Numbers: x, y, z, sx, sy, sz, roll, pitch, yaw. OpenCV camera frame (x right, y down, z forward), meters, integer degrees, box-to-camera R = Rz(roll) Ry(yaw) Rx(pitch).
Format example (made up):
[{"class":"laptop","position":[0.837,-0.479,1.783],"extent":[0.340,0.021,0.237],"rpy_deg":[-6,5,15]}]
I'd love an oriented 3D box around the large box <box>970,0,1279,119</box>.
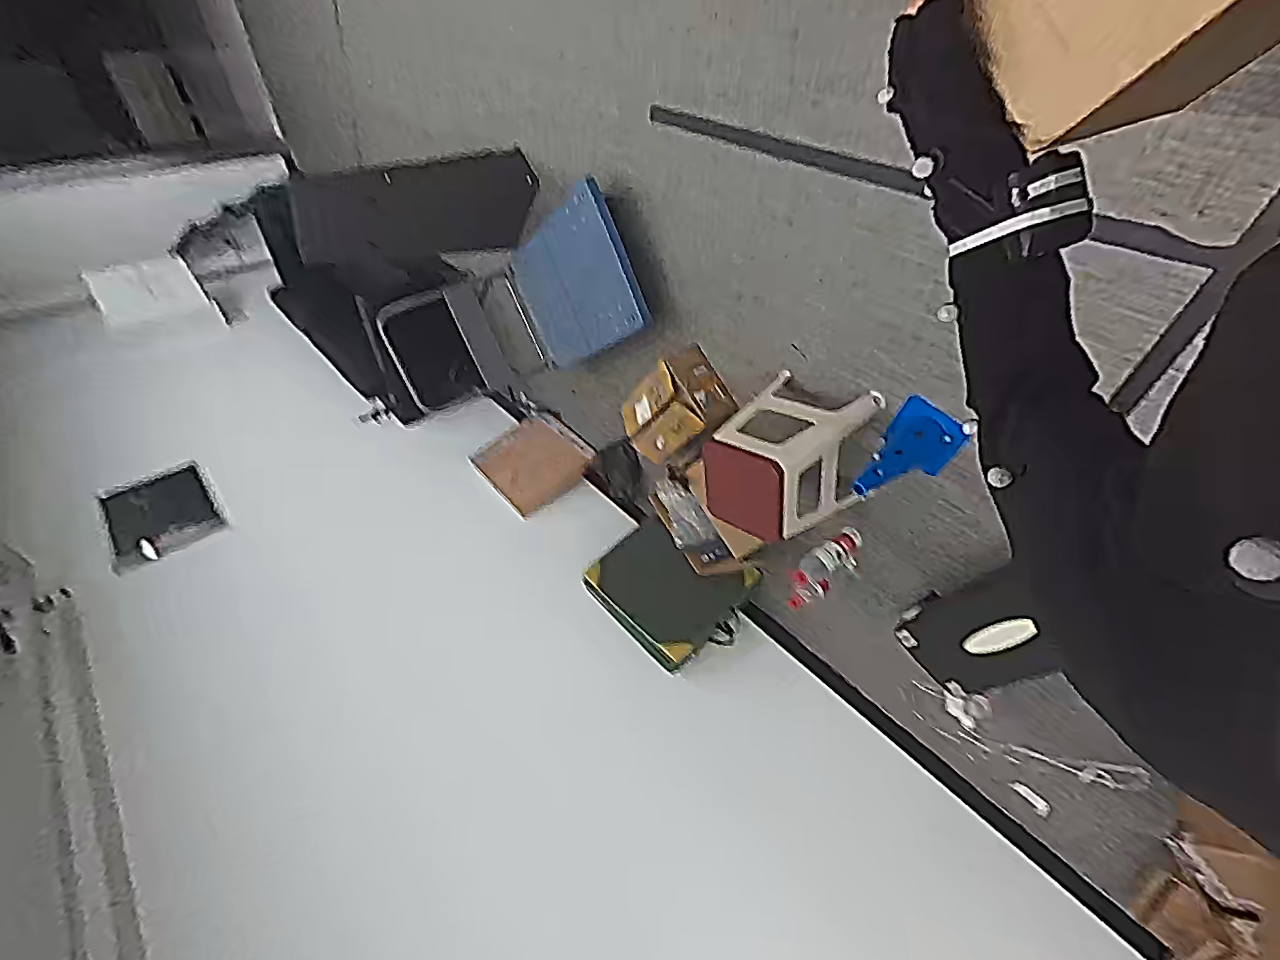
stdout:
[{"class":"large box","position":[0.420,-0.501,0.298],"extent":[0.320,0.320,0.408],"rpy_deg":[62,153,2]}]
